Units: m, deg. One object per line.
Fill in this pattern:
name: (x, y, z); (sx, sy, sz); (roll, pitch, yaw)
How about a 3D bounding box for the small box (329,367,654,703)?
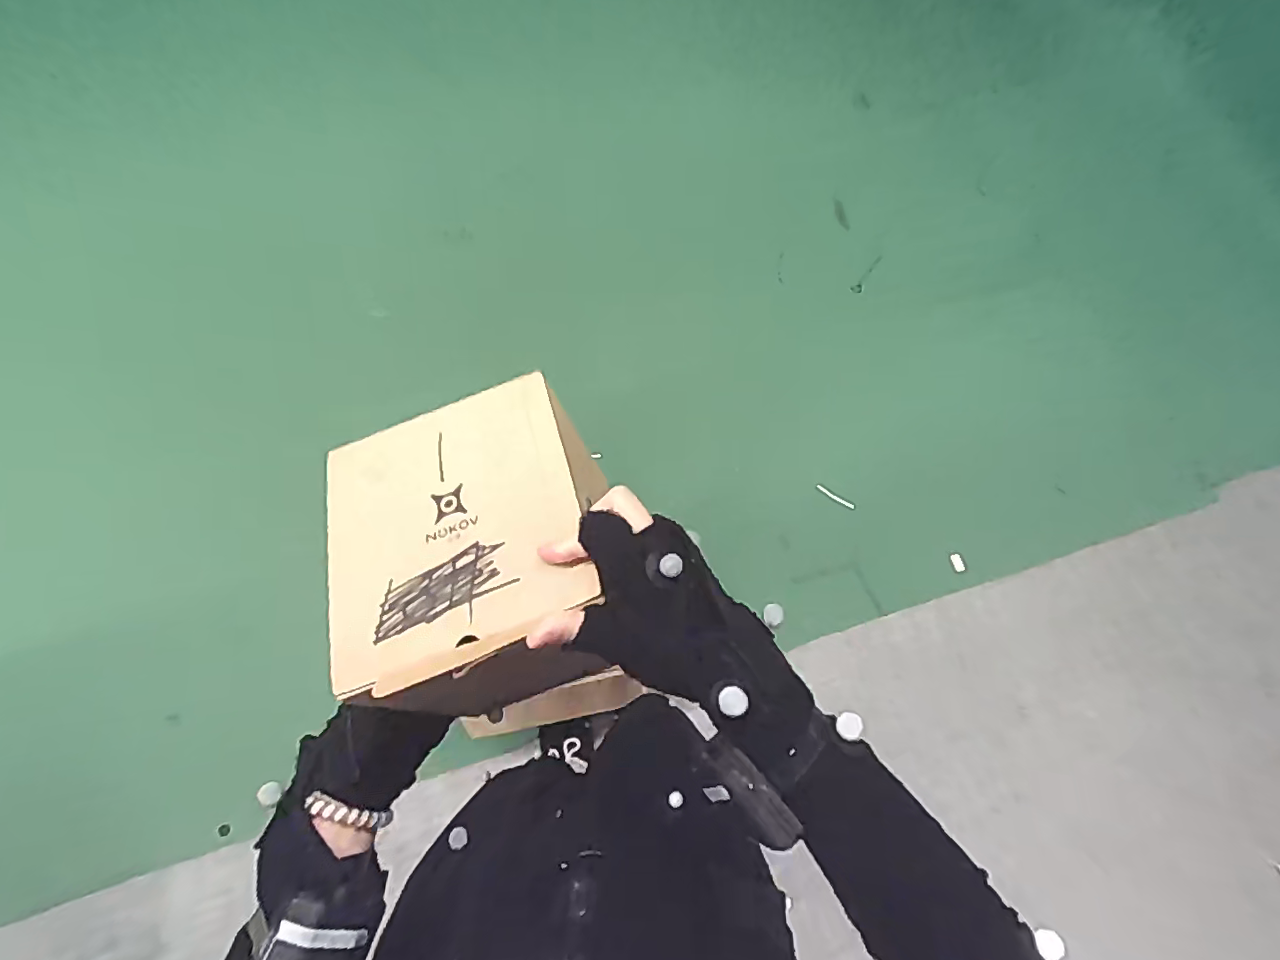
small box: (-0.099, 0.055, 0.405); (0.168, 0.176, 0.179); (-21, 61, 2)
